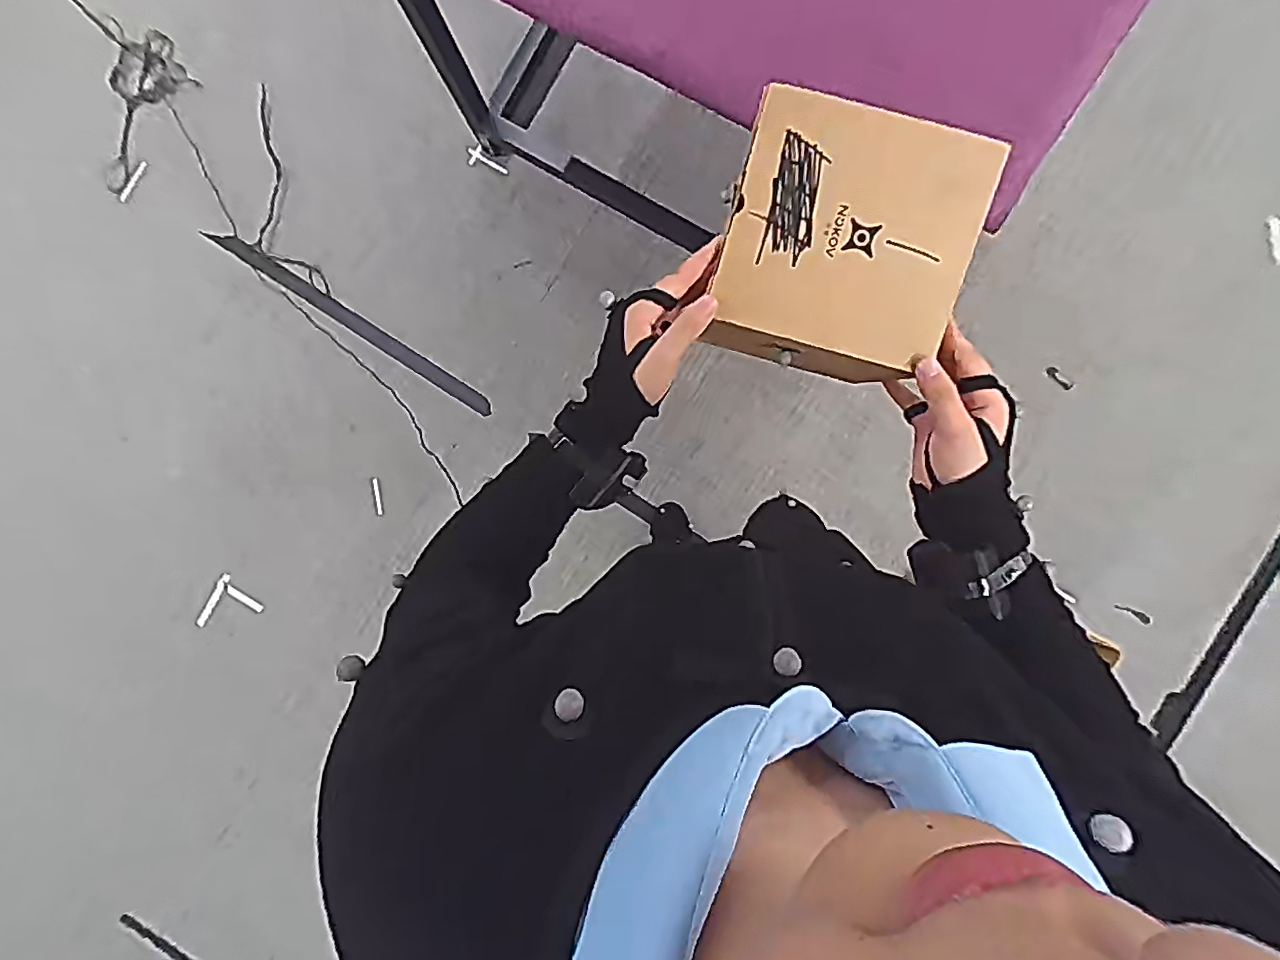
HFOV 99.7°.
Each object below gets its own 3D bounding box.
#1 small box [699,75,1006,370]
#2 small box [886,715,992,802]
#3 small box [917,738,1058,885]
[{"bbox_3d":[0.154,-0.195,0.466,0.179,0.176,0.168,15,100,1],"label":"small box"},{"bbox_3d":[0.740,0.708,1.325,0.179,0.176,0.168,28,91,3],"label":"small box"},{"bbox_3d":[0.730,0.700,1.163,0.168,0.176,0.179,28,90,4],"label":"small box"}]
